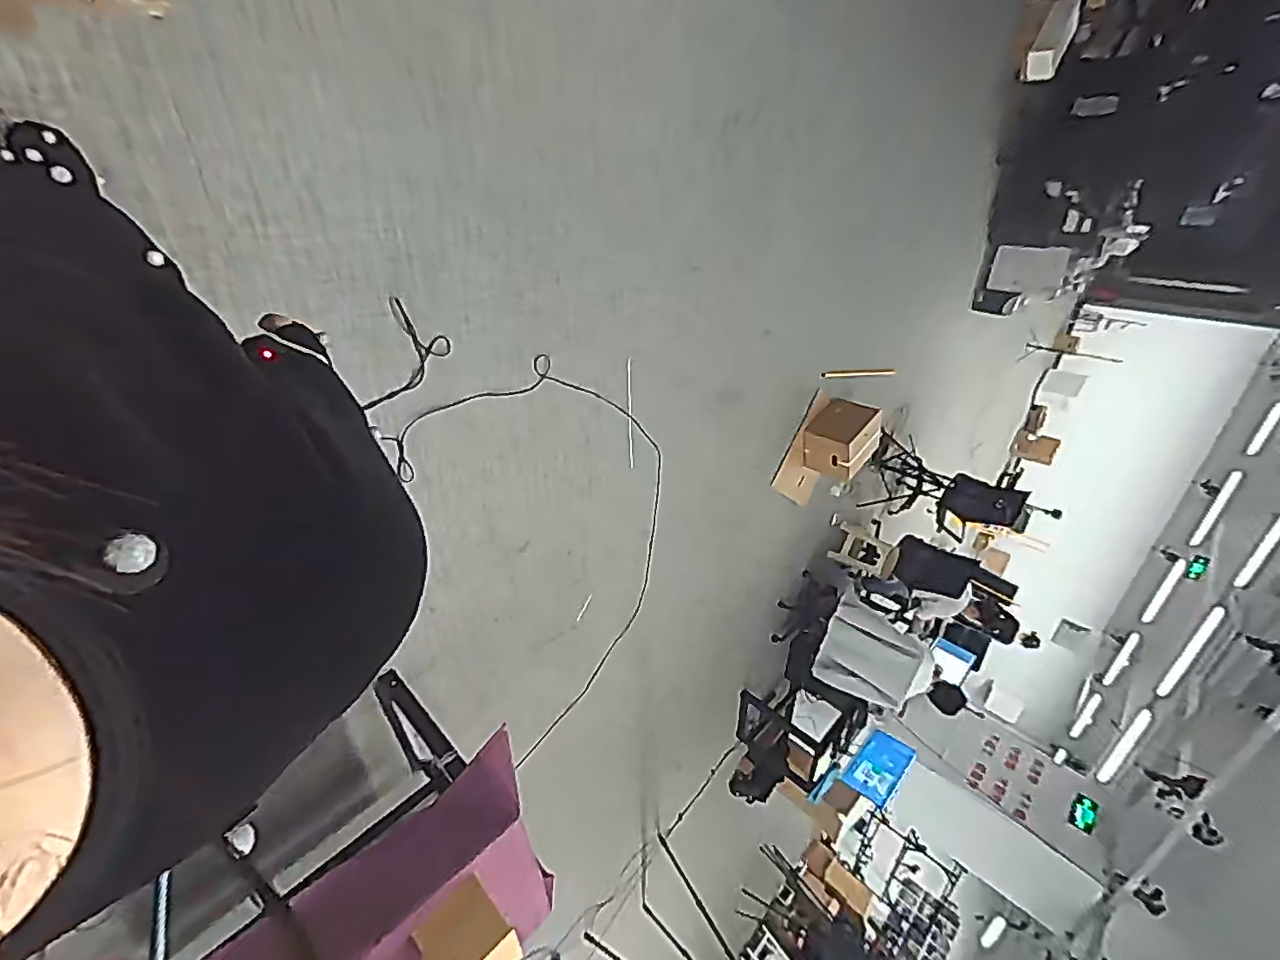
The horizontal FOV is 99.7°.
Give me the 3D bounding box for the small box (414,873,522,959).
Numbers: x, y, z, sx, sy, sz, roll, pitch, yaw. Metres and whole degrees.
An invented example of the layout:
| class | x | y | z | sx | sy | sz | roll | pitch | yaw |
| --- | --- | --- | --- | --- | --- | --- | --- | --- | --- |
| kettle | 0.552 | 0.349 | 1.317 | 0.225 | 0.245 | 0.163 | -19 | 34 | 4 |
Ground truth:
| class | x | y | z | sx | sy | sz | roll | pitch | yaw |
| --- | --- | --- | --- | --- | --- | --- | --- | --- | --- |
| small box | -0.413 | 1.110 | 1.307 | 0.179 | 0.176 | 0.168 | -29 | 131 | -35 |
